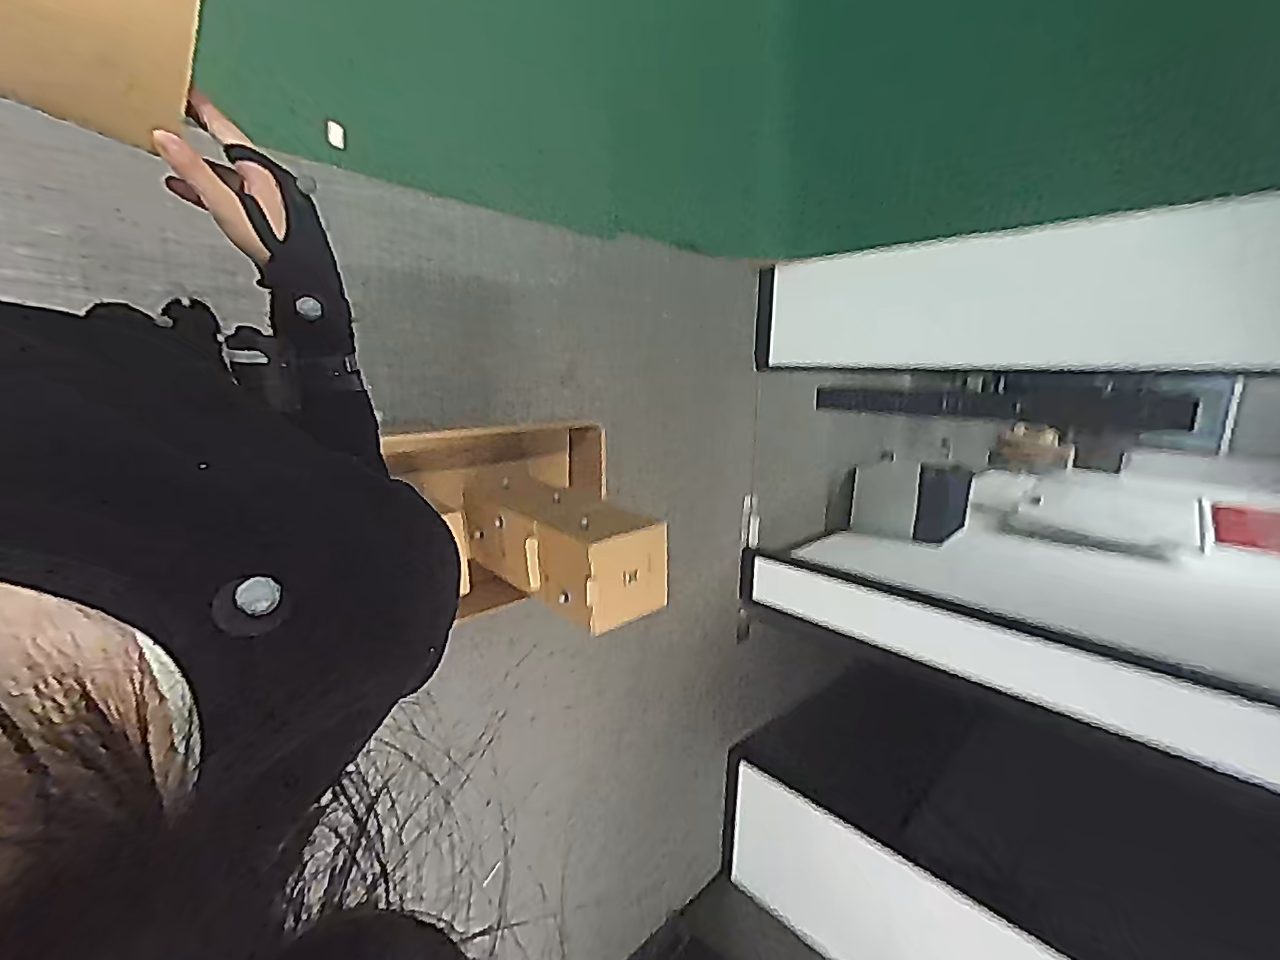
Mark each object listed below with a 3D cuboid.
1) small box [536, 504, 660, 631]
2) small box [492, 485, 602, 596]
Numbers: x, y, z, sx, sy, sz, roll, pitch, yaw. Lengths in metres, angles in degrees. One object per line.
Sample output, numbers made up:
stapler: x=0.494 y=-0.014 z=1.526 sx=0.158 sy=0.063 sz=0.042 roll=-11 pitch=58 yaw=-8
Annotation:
small box: x=-0.083 y=0.151 z=1.000 sx=0.179 sy=0.176 sz=0.168 roll=-11 pitch=108 yaw=-41
small box: x=-0.191 y=0.116 z=1.117 sx=0.179 sy=0.176 sz=0.168 roll=-16 pitch=110 yaw=-40
